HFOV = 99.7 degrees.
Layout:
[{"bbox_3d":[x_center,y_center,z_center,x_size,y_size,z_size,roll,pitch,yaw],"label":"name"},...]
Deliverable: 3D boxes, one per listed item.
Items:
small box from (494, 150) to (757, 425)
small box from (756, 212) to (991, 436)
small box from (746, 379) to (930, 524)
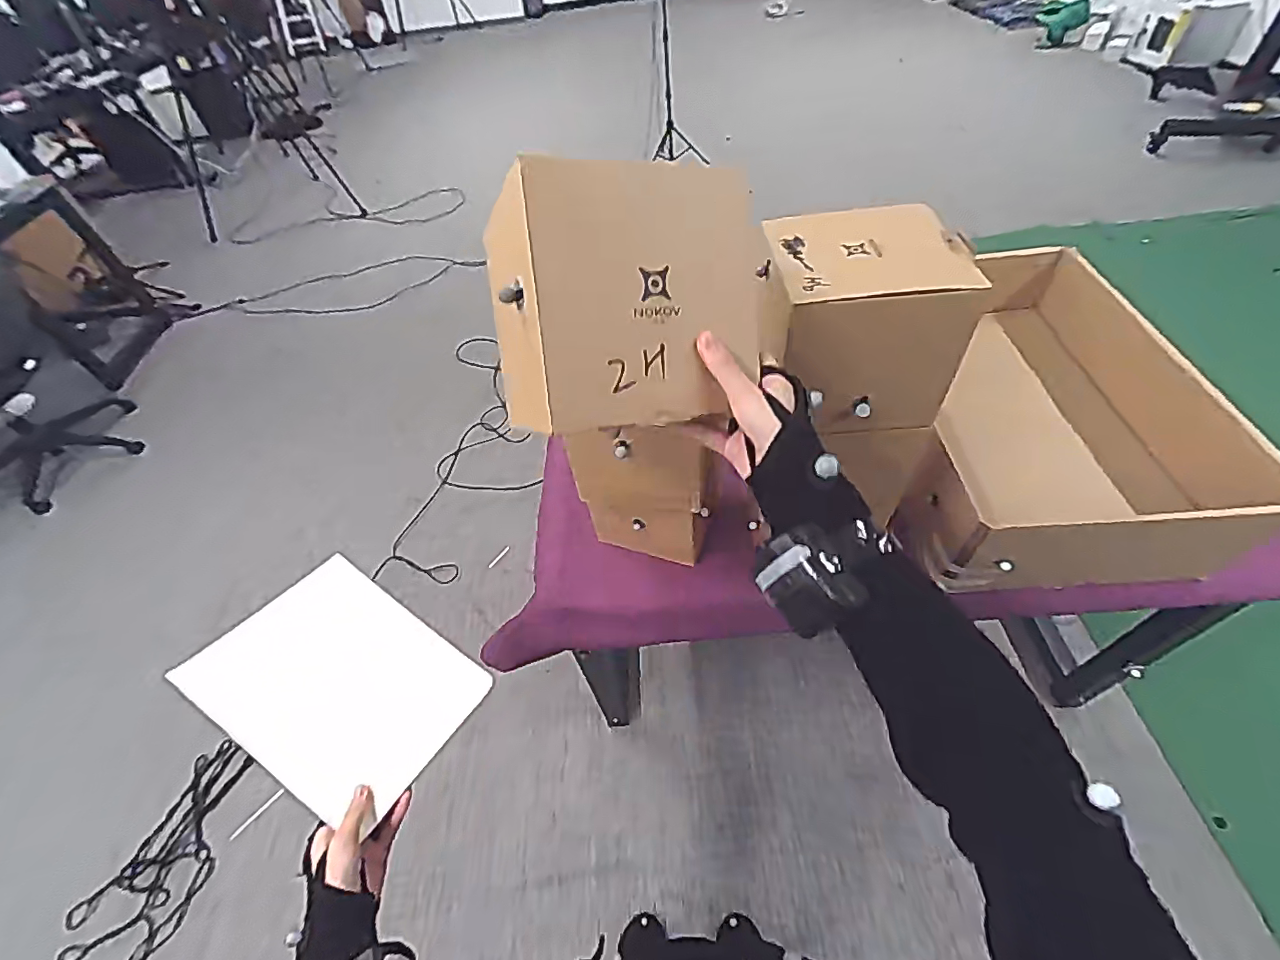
[{"bbox_3d":[-0.021,-0.139,0.451,0.168,0.179,0.176,-8,9,-21],"label":"small box"},{"bbox_3d":[0.225,-0.163,0.584,0.179,0.176,0.168,-3,48,3],"label":"small box"},{"bbox_3d":[0.241,-0.057,0.708,0.179,0.176,0.168,-4,49,4],"label":"small box"}]
